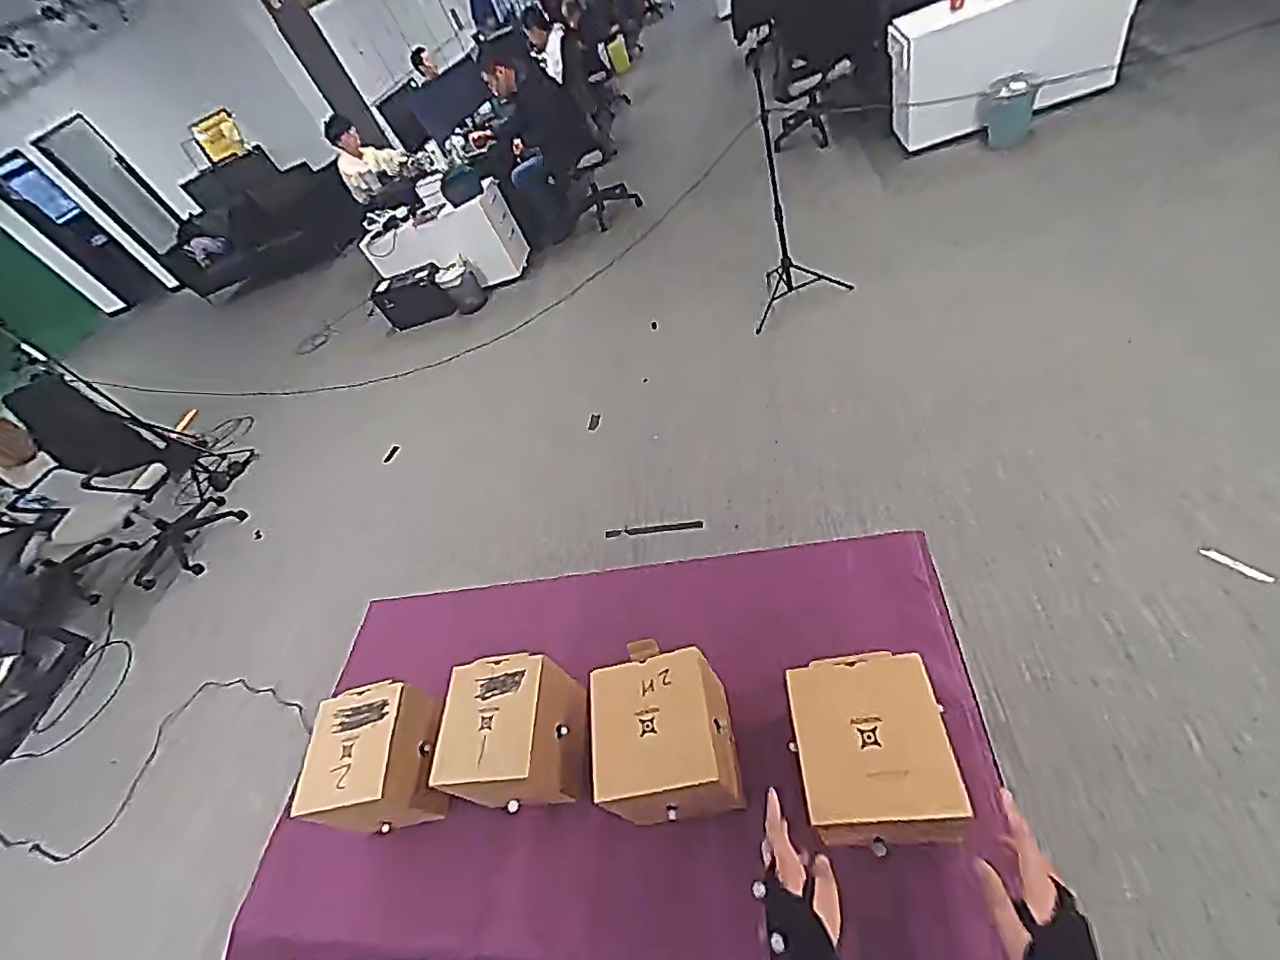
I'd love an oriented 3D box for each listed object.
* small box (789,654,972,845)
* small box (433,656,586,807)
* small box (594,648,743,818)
[{"bbox_3d":[0.295,0.345,0.687,0.168,0.176,0.179,-13,46,16],"label":"small box"},{"bbox_3d":[-0.195,0.407,0.869,0.168,0.176,0.179,-13,48,15],"label":"small box"},{"bbox_3d":[0.042,0.373,0.784,0.168,0.176,0.179,-17,46,11],"label":"small box"}]
